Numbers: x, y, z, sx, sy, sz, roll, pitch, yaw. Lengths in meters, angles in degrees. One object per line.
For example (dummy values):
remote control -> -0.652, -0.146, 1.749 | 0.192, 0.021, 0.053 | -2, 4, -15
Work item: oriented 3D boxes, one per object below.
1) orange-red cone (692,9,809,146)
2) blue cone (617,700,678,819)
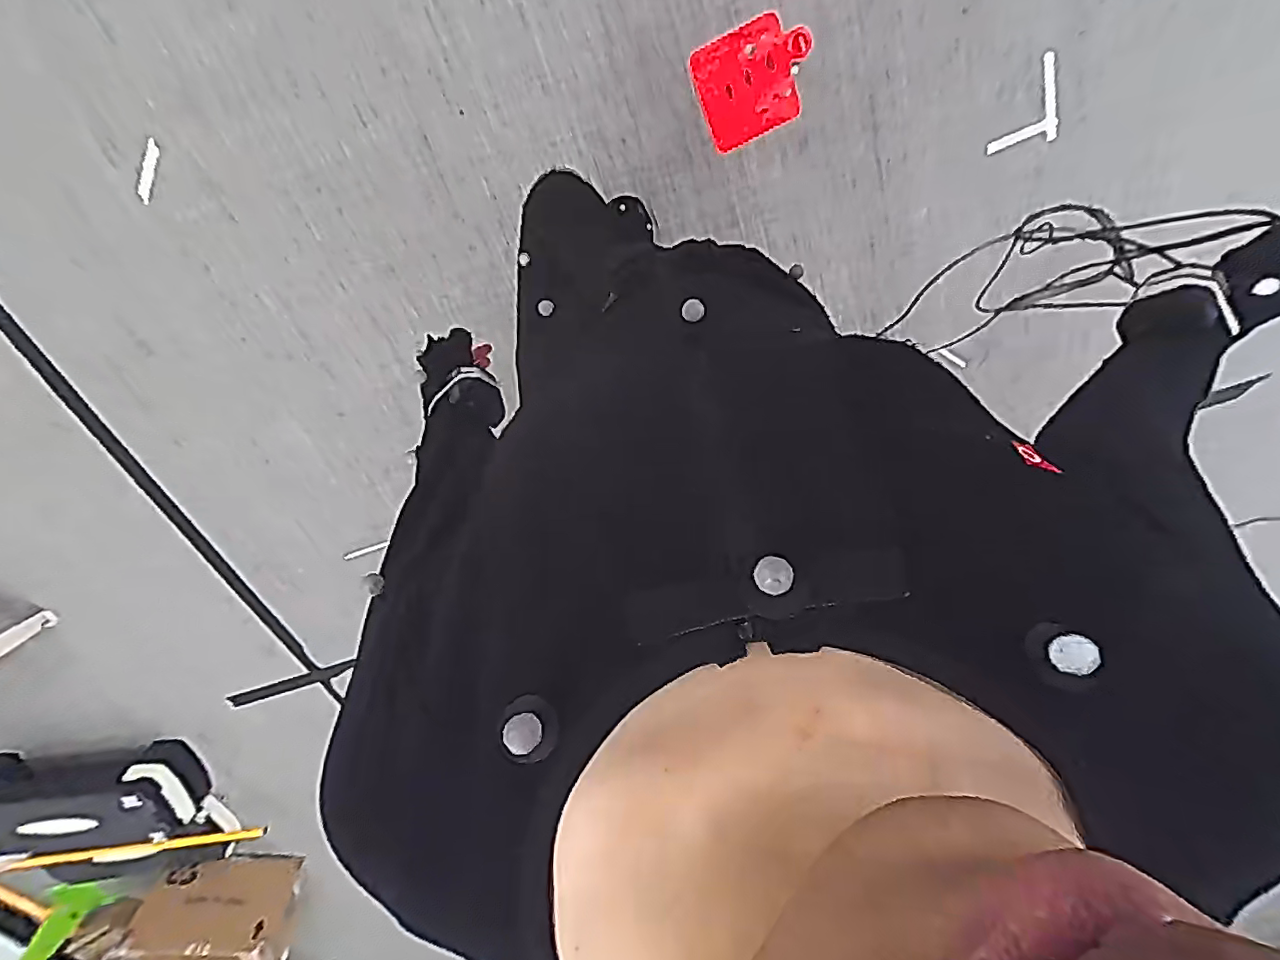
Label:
orange-red cone -> 0.234, -0.765, 0.988 | 0.199, 0.360, 0.198 | -22, 116, 9
blue cone -> 0.041, 0.976, 1.863 | 0.193, 0.380, 0.192 | -23, 116, 8
